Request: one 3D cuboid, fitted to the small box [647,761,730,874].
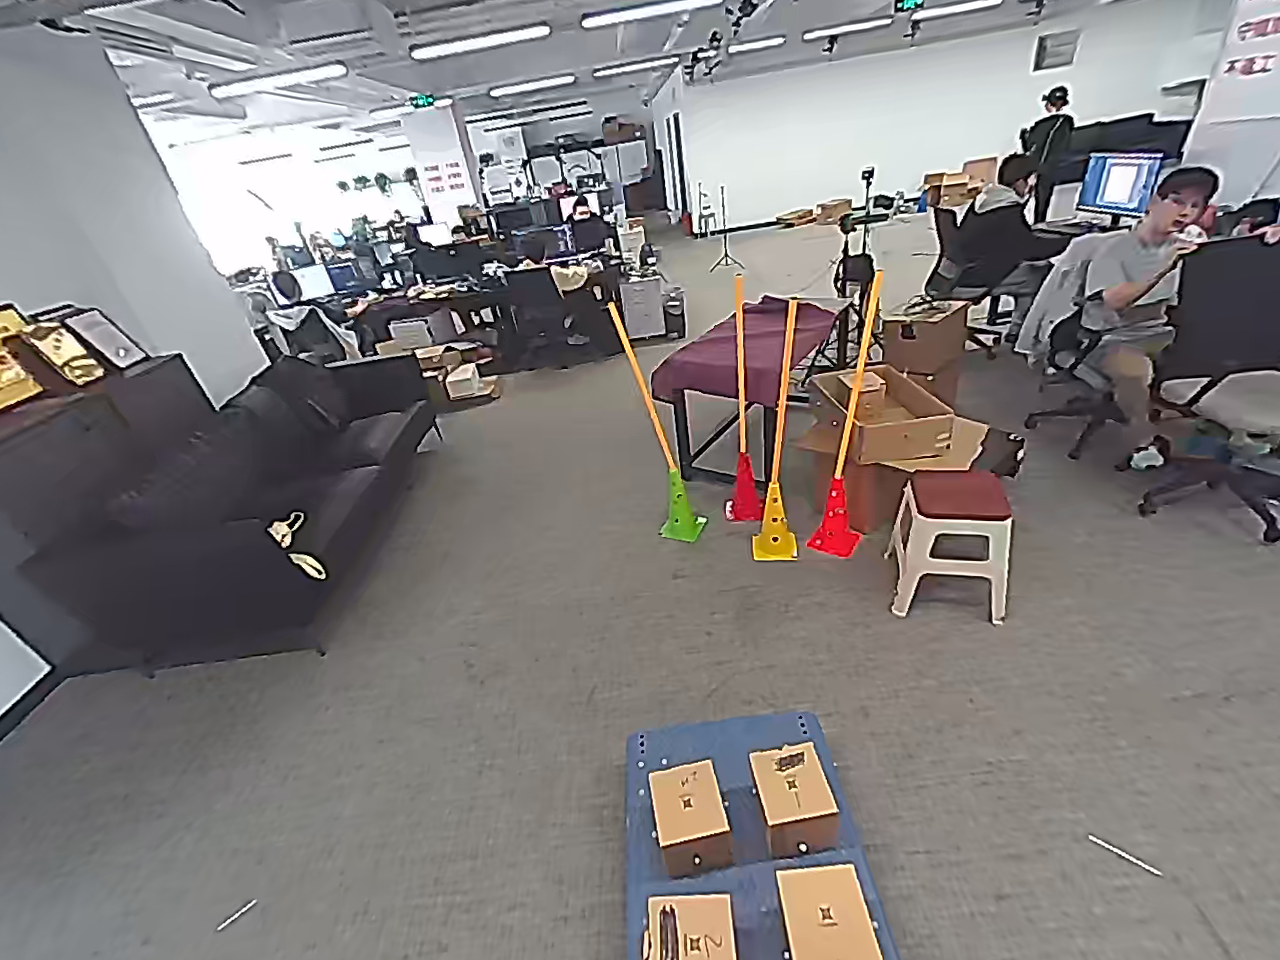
[{"bbox_3d":[0.120,0.840,1.341,0.168,0.176,0.179,-11,31,-3],"label":"small box"}]

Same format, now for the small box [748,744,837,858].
[{"bbox_3d":[0.372,0.795,1.342,0.168,0.176,0.179,-11,32,0],"label":"small box"}]

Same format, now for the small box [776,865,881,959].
[{"bbox_3d":[0.379,0.936,1.113,0.168,0.176,0.179,-8,31,3],"label":"small box"}]
